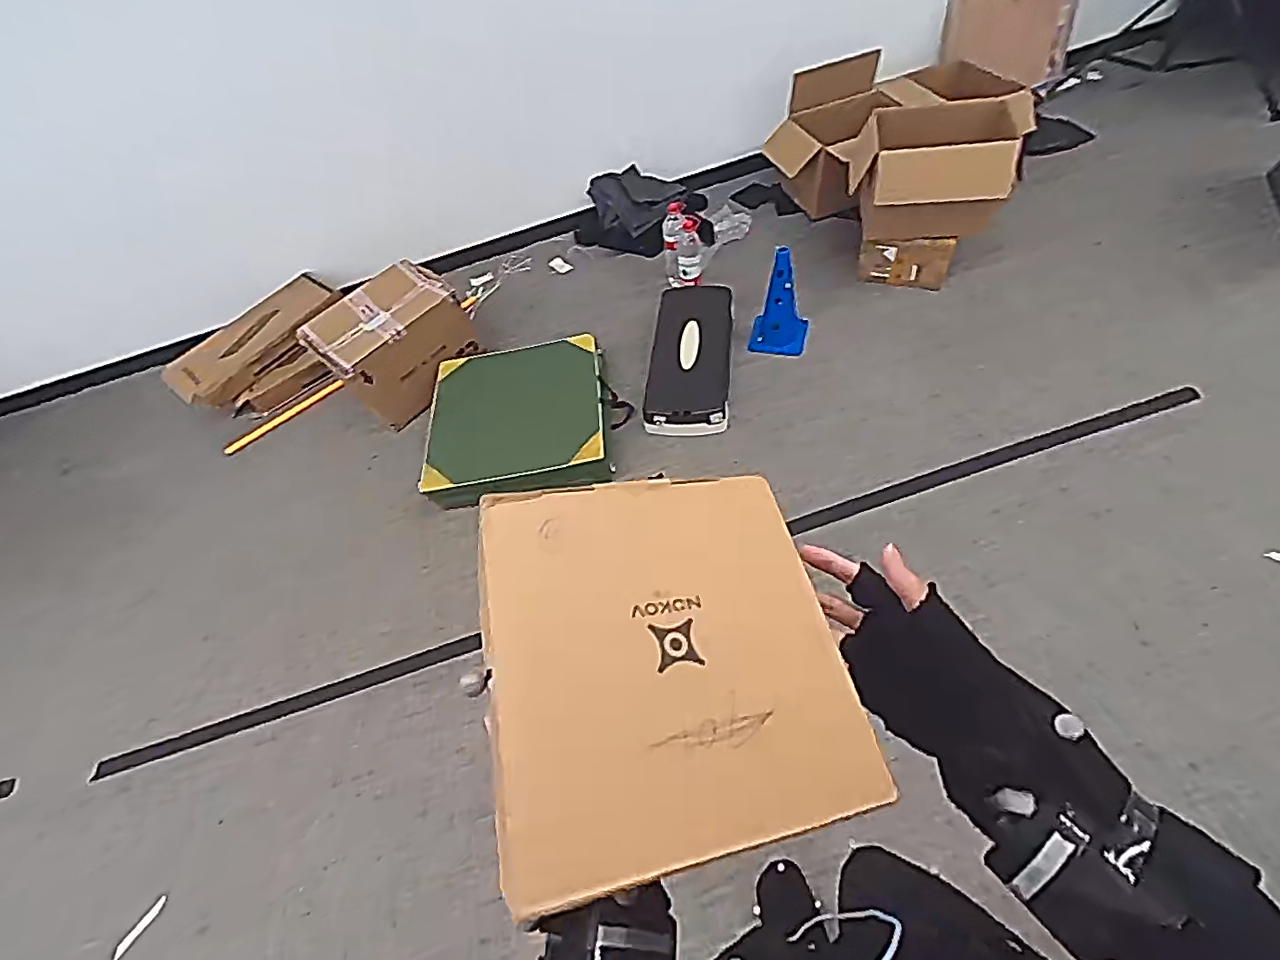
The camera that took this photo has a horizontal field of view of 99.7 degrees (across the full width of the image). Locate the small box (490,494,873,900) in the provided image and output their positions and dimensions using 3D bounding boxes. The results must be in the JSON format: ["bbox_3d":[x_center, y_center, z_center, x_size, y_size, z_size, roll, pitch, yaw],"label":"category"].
[{"bbox_3d":[-0.004,0.129,0.332,0.168,0.176,0.179,-4,57,-16],"label":"small box"}]
